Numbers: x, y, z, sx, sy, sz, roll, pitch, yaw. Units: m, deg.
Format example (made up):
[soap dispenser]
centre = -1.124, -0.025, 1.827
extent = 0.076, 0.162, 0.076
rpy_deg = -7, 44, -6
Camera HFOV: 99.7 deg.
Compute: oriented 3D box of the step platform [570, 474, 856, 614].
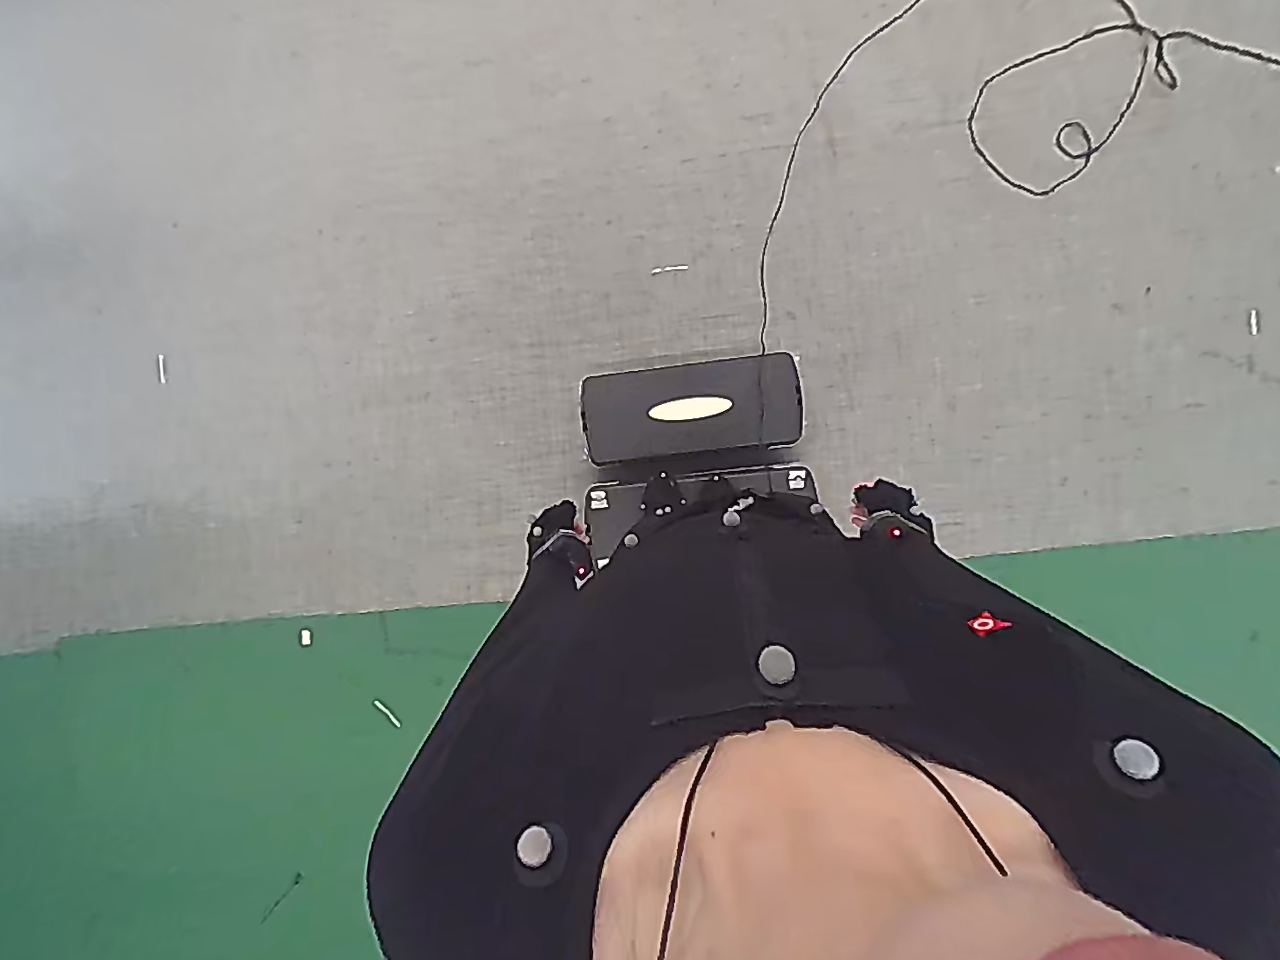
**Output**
[step platform]
centre = 0.174, 0.159, 1.390
extent = 0.684, 0.204, 0.286
rpy_deg = -6, 88, 3
